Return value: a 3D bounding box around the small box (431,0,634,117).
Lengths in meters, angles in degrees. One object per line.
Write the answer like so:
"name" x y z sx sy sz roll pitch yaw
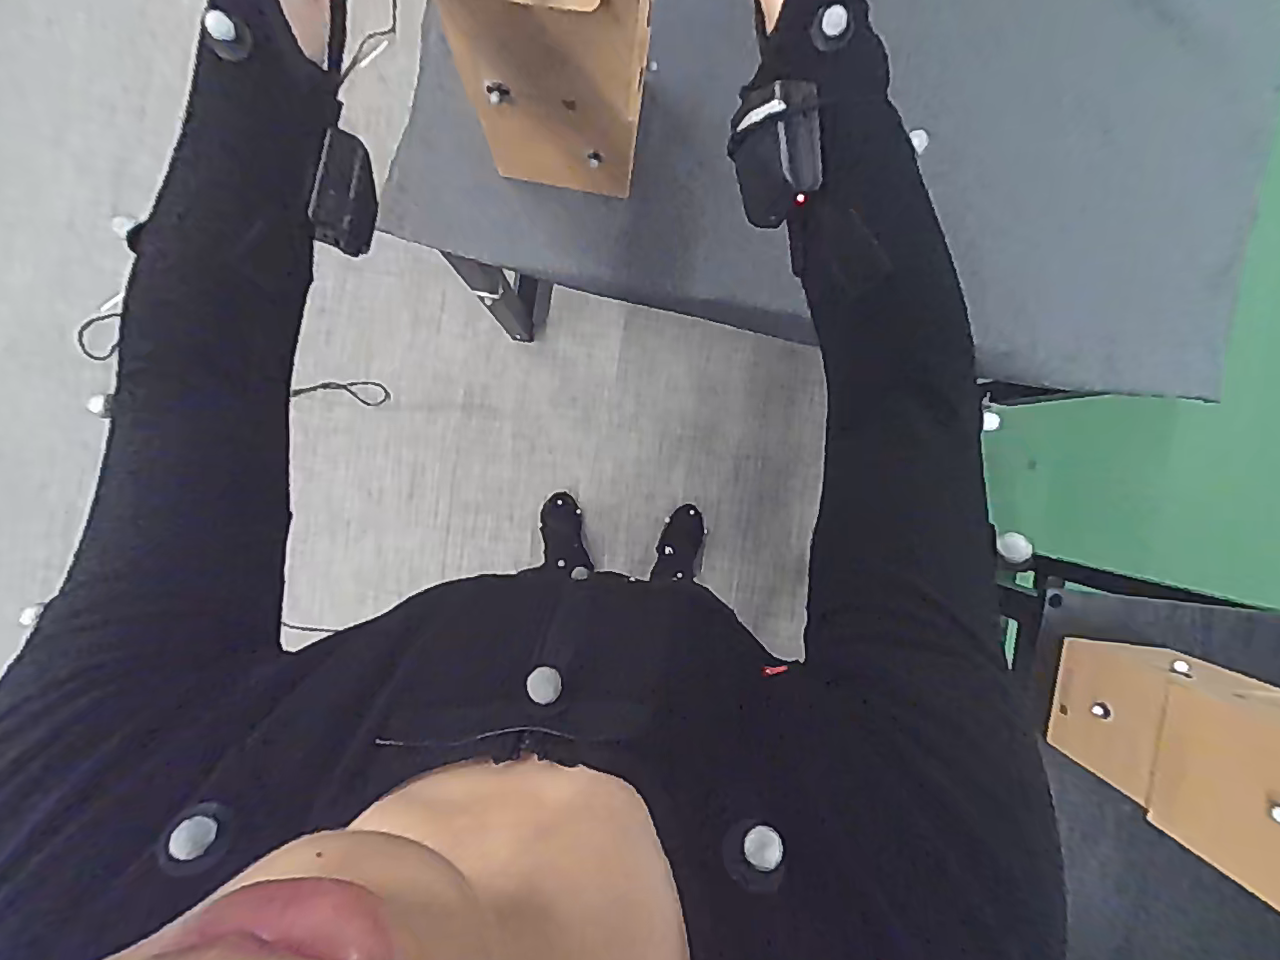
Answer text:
"small box" -0.087 -0.464 0.480 0.168 0.176 0.179 3 90 -5

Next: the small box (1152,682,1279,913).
"small box" 0.707 0.341 0.574 0.168 0.176 0.179 7 93 -3

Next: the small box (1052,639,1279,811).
"small box" 0.714 0.328 0.736 0.179 0.176 0.168 7 94 -4

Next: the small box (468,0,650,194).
"small box" -0.089 -0.470 0.645 0.179 0.176 0.168 7 90 -3
